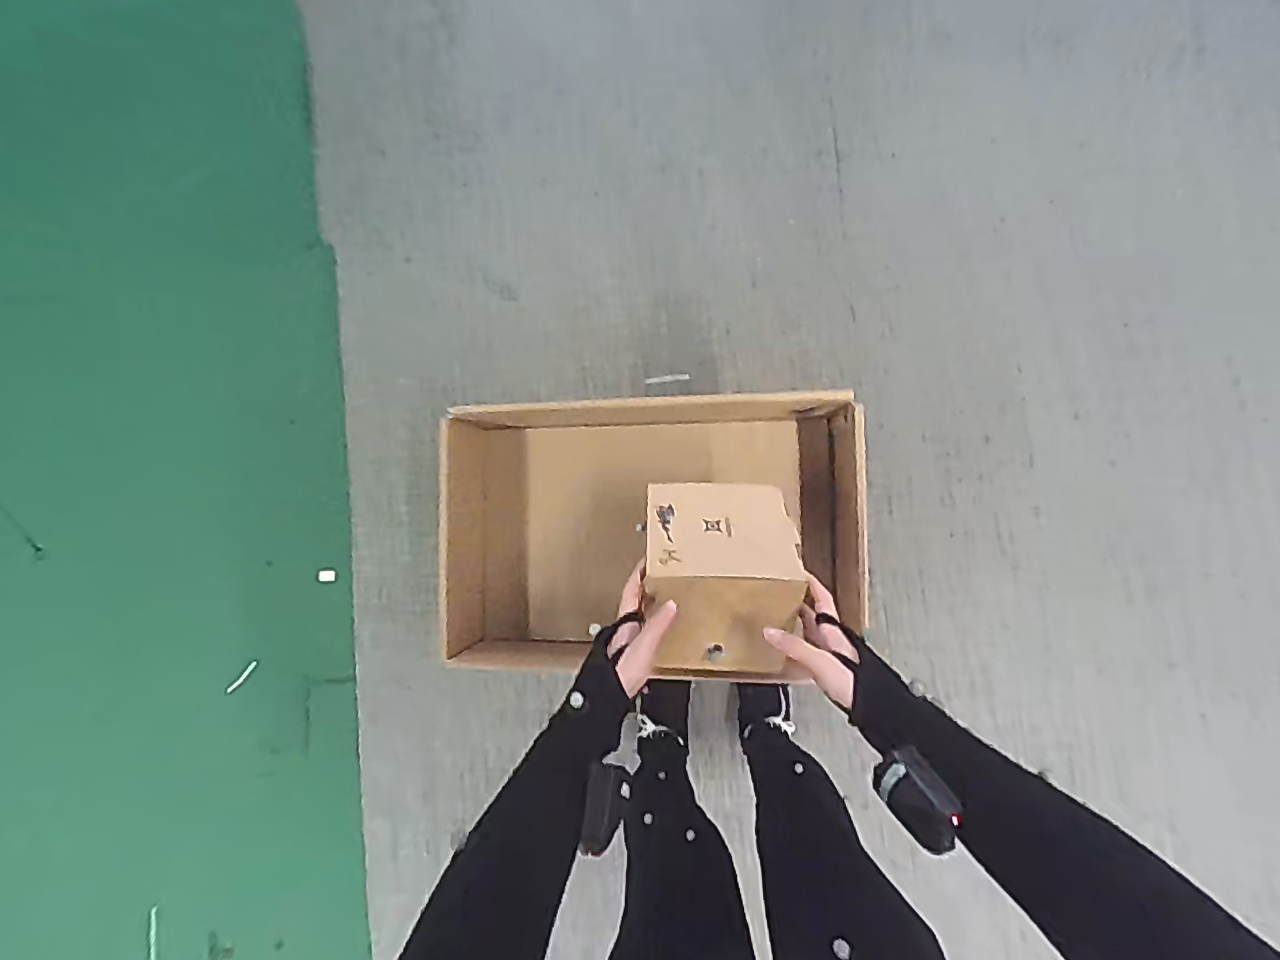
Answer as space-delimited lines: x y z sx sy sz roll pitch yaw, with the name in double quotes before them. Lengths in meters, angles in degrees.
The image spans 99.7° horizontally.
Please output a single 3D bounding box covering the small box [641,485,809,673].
"small box" 0.093 0.125 0.680 0.179 0.168 0.176 2 127 0
